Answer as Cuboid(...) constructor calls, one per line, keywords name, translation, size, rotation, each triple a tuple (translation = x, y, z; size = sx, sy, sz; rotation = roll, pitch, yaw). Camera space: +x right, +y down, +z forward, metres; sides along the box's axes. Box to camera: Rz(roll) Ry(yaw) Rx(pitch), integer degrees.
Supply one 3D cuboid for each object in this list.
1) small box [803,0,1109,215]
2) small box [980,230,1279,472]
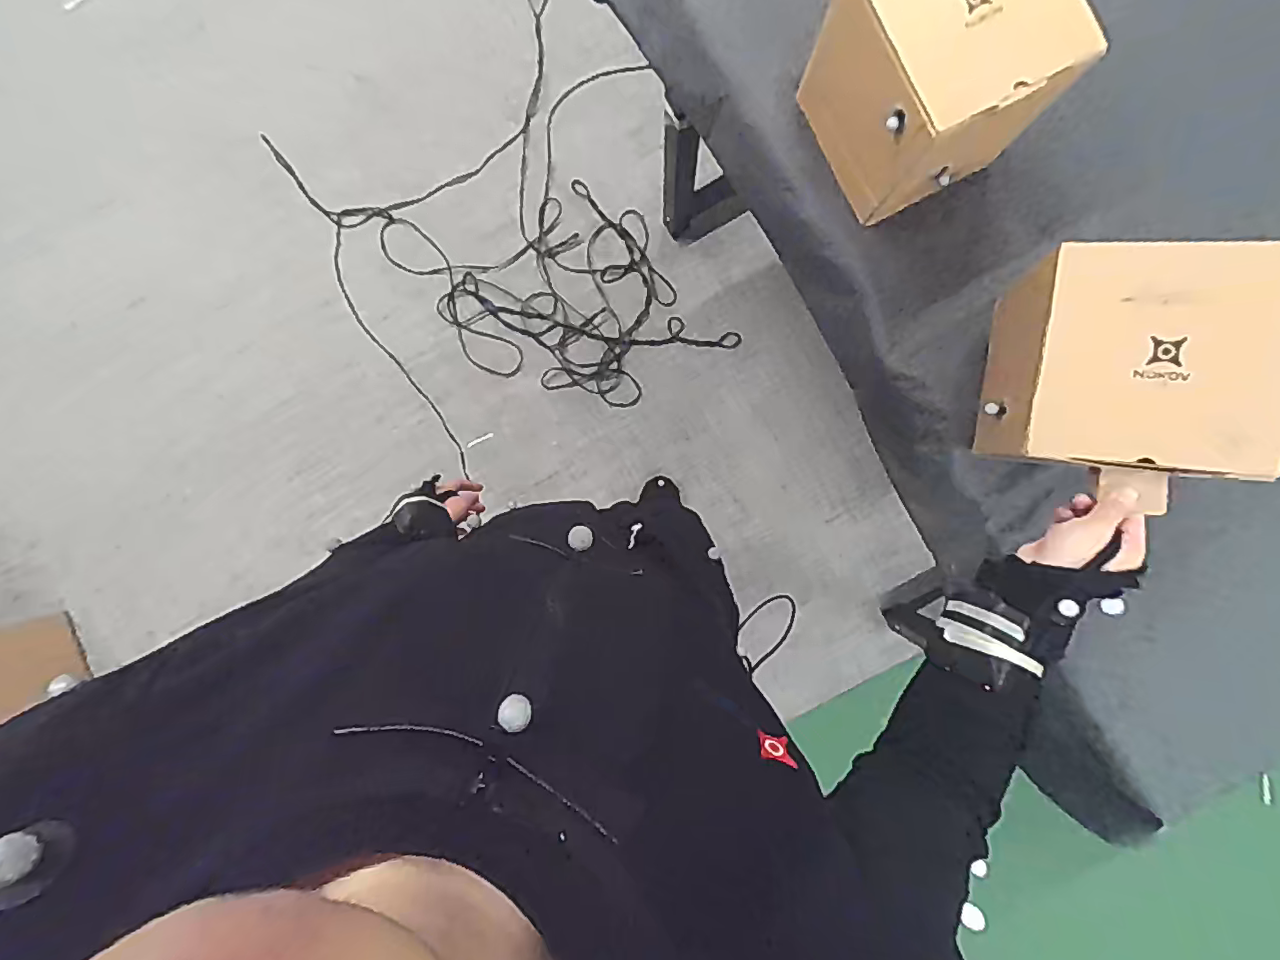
Cuboid(name="small box", translation=(0.288, -0.409, 0.538), size=(0.168, 0.176, 0.179), rotation=(-27, 90, 1))
Cuboid(name="small box", translation=(0.429, -0.104, 0.489), size=(0.168, 0.176, 0.179), rotation=(7, 94, 18))
